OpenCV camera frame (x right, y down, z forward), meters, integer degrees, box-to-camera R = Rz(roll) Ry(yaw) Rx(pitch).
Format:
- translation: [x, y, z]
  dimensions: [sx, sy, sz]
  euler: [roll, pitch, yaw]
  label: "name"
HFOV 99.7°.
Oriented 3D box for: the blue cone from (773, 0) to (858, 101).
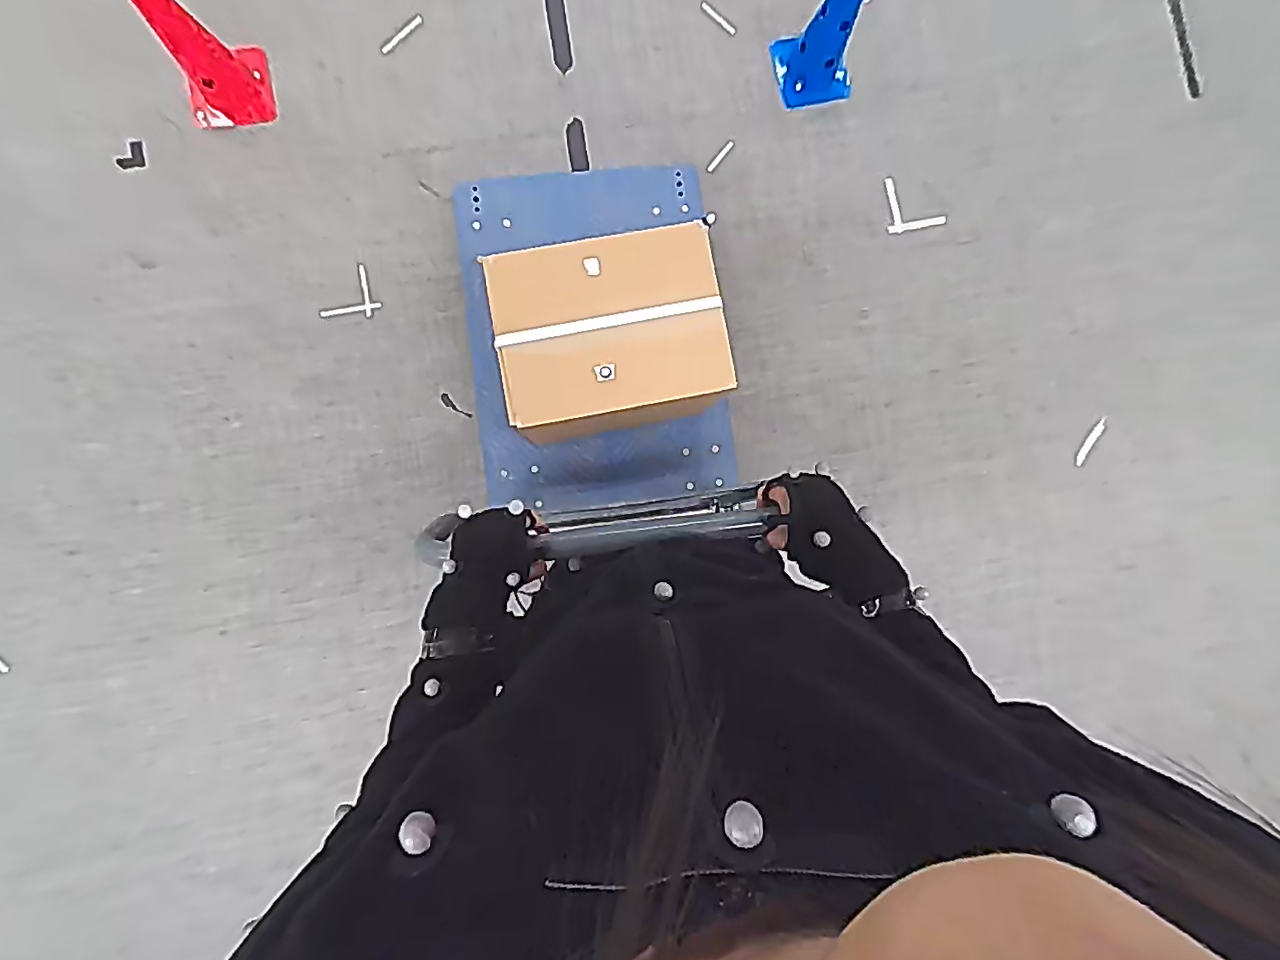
- translation: [0.492, -1.166, 1.348]
  dimensions: [0.193, 0.380, 0.192]
  euler: [-14, 88, -5]
  label: "blue cone"
